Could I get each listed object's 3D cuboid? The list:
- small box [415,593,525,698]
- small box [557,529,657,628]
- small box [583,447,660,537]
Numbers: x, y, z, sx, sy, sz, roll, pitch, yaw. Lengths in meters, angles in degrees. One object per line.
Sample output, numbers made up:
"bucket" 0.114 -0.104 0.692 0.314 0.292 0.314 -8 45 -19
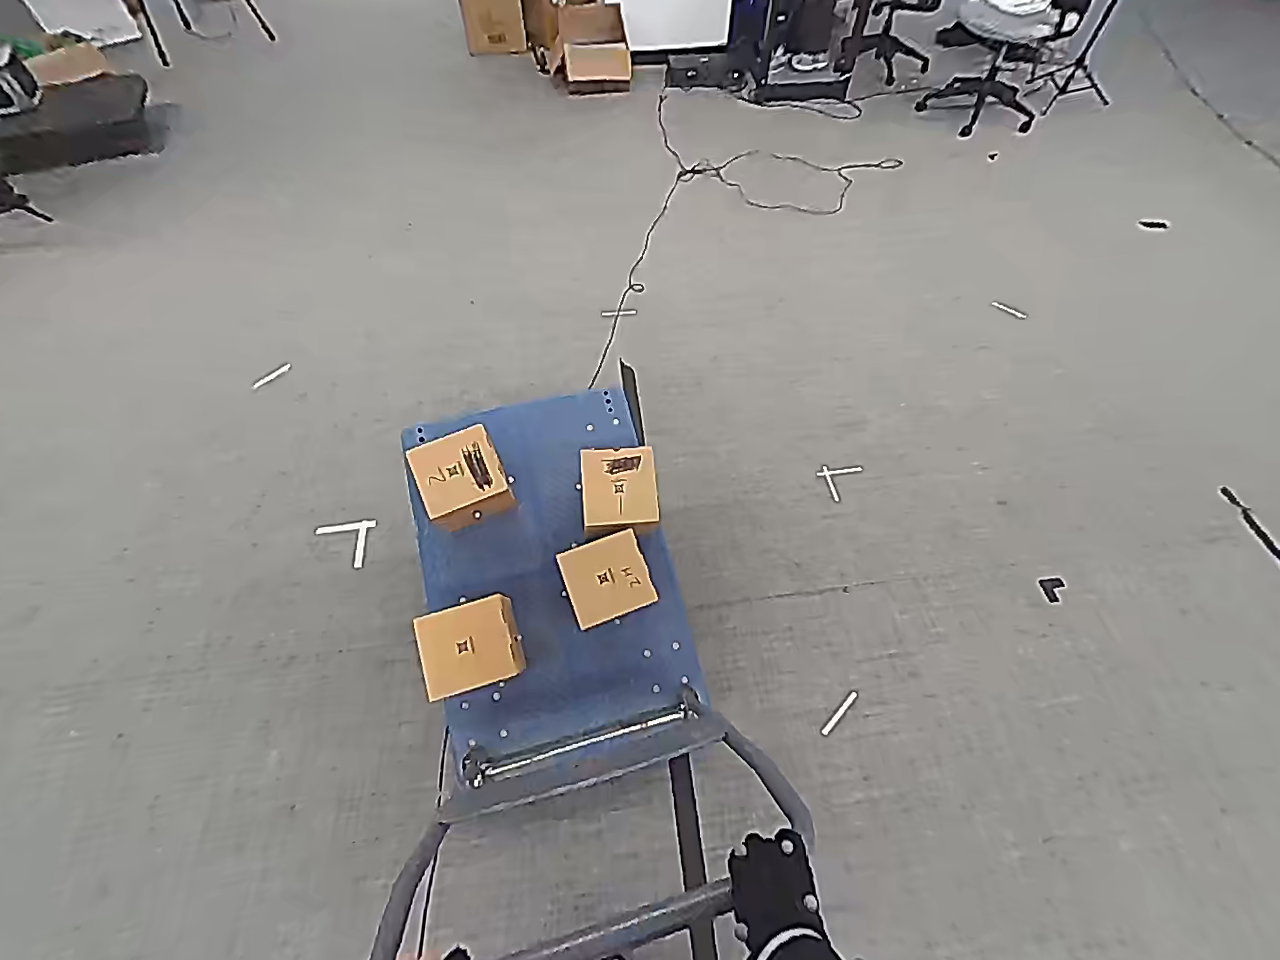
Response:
"small box" -0.355 0.351 1.156 0.179 0.176 0.168 -15 77 -11
"small box" -0.075 0.226 1.215 0.179 0.176 0.168 -19 78 -10
"small box" -0.049 0.032 1.270 0.168 0.176 0.179 -3 76 -6
